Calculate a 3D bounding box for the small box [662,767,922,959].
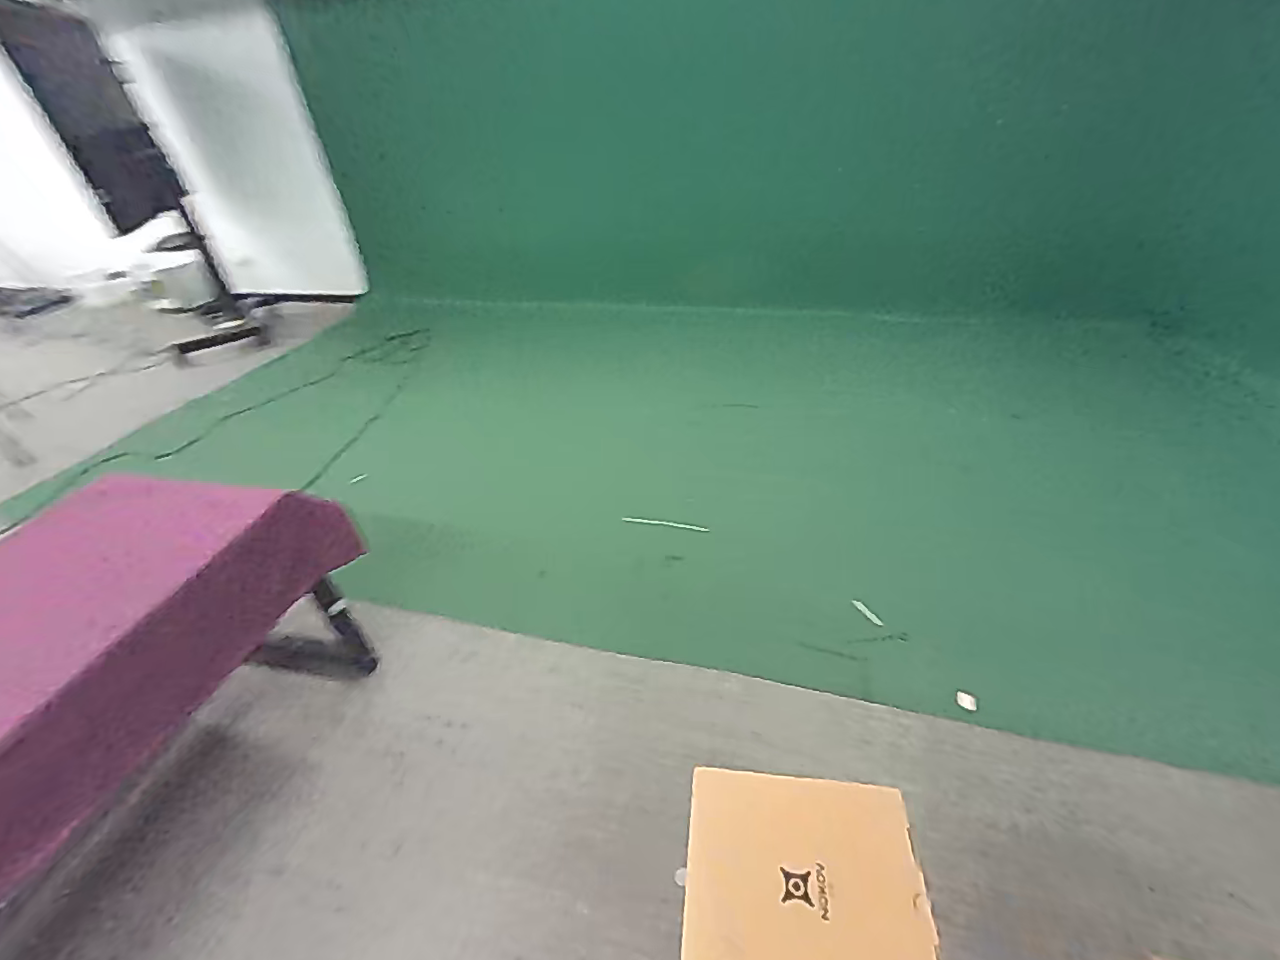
[{"bbox_3d":[0.117,0.370,0.449,0.179,0.176,0.168,0,34,9],"label":"small box"}]
